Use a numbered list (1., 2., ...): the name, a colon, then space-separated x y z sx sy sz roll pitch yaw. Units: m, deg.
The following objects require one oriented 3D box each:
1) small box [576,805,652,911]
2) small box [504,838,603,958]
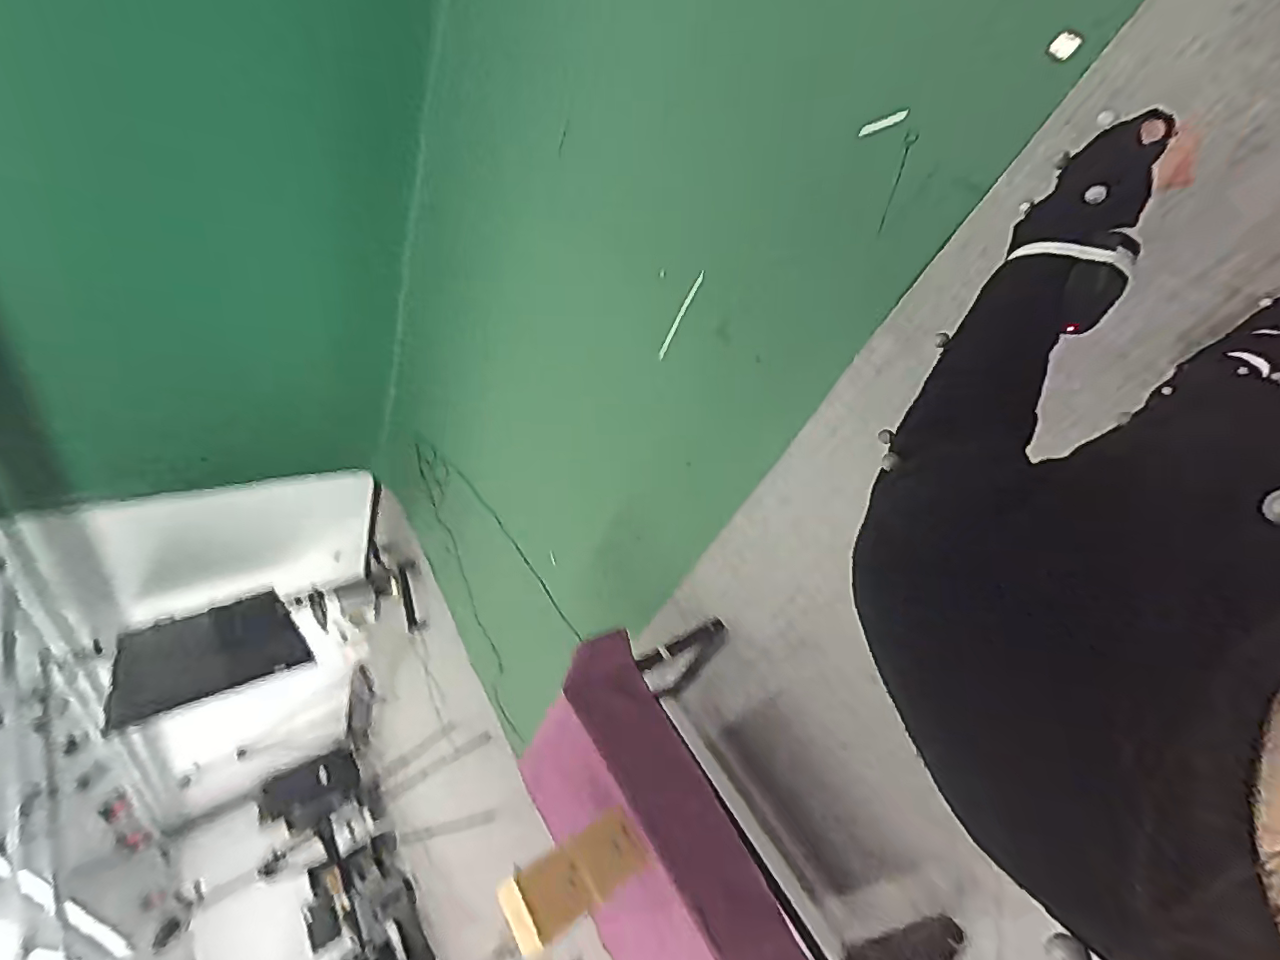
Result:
1. small box: -0.091 1.028 1.473 0.168 0.176 0.179 52 134 27
2. small box: -0.218 1.057 1.375 0.168 0.176 0.179 52 133 27
